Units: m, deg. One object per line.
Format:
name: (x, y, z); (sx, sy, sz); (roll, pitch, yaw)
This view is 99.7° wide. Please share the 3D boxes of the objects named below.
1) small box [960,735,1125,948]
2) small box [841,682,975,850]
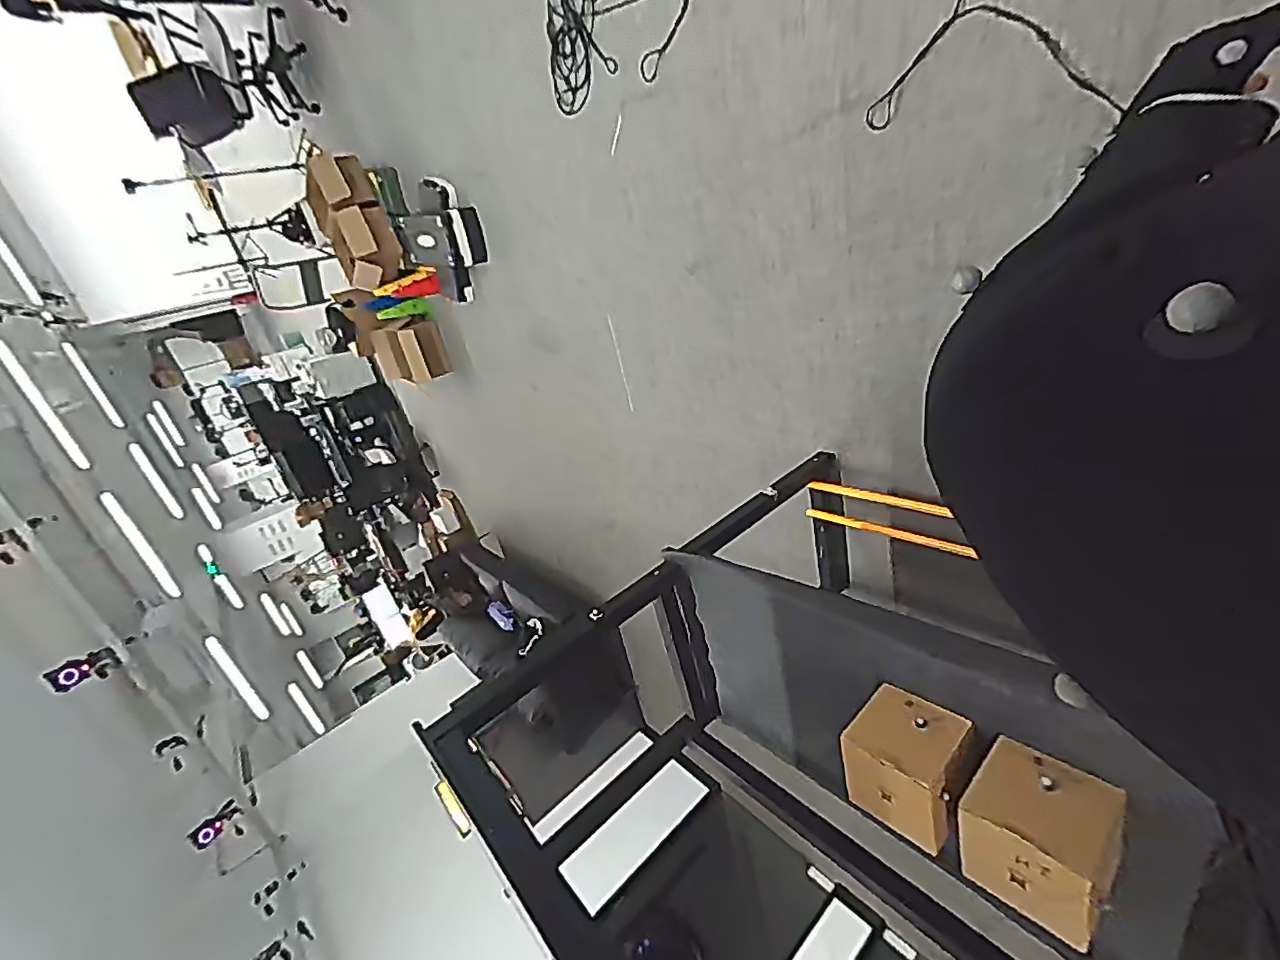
small box: (0.624, 0.548, 0.842); (0.168, 0.176, 0.179); (13, 126, 51)
small box: (0.501, 0.518, 1.002); (0.168, 0.176, 0.179); (12, 125, 50)
